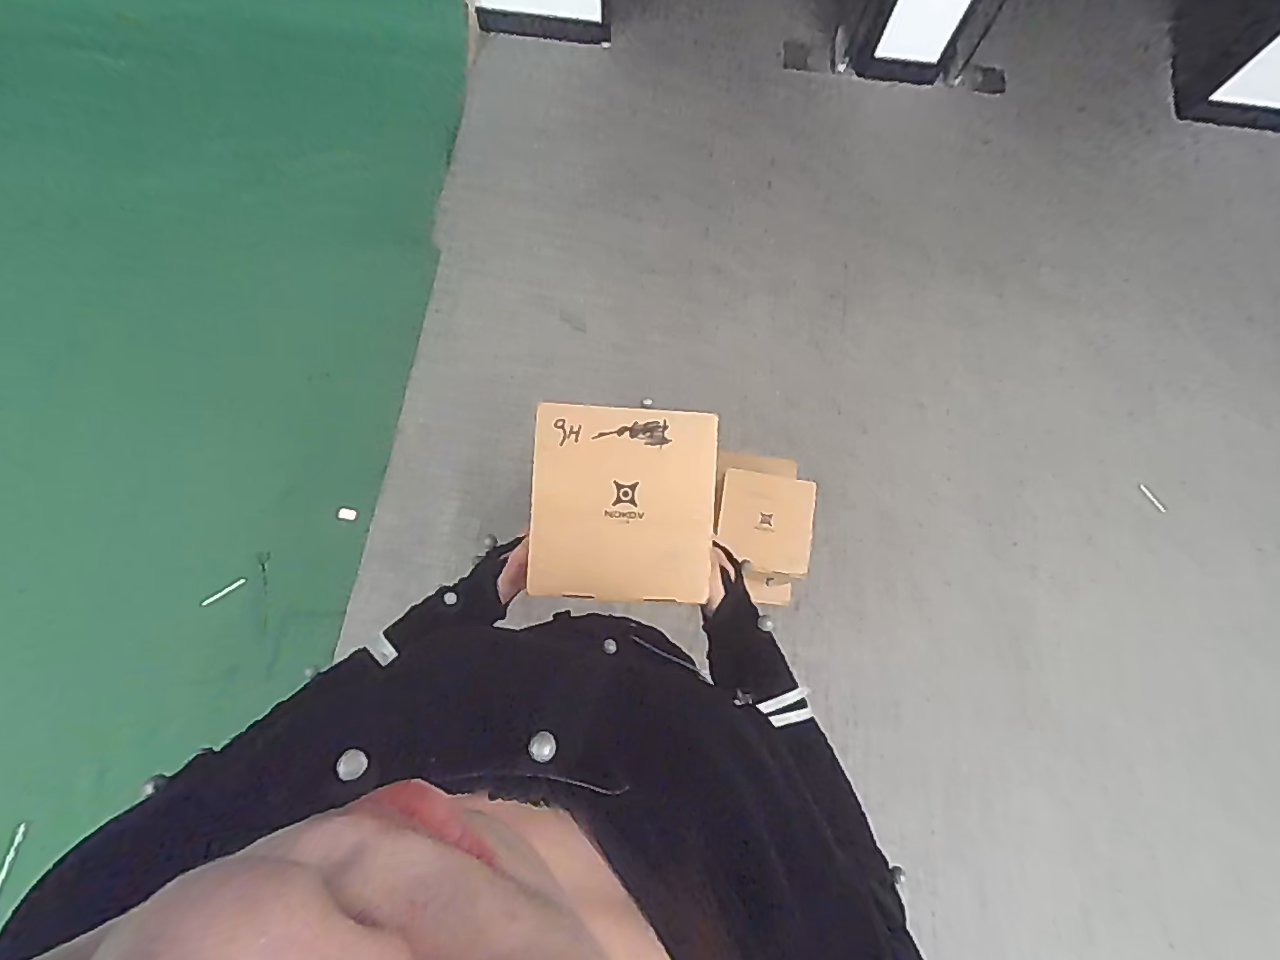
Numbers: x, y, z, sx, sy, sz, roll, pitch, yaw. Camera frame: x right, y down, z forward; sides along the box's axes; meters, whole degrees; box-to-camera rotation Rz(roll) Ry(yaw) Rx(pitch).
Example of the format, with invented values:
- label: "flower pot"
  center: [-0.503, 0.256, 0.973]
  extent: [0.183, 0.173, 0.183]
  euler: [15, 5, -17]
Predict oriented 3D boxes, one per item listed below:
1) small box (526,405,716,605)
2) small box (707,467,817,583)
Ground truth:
- label: "small box"
  center: [-0.021, 0.022, 0.565]
  extent: [0.168, 0.176, 0.179]
  euler: [3, 90, -4]
- label: "small box"
  center: [0.220, 0.093, 1.025]
  extent: [0.168, 0.176, 0.179]
  euler: [11, 75, 2]
